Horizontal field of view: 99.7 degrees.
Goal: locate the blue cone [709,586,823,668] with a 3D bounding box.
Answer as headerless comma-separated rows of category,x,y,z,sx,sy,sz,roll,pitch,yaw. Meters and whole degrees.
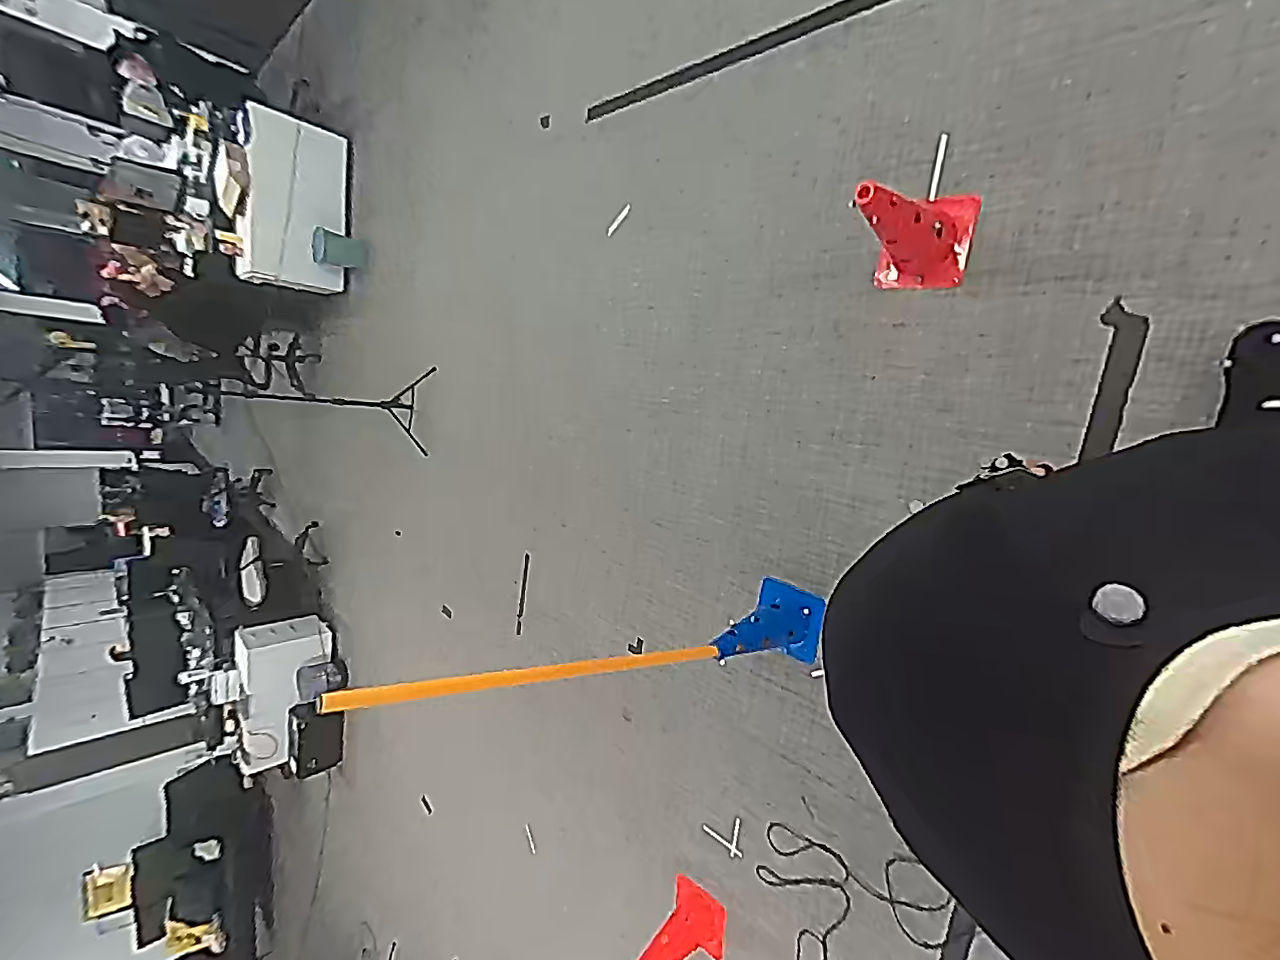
blue cone,0.309,0.416,1.426,0.193,0.380,0.192,20,106,42

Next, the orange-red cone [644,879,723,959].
orange-red cone,0.075,1.473,1.676,0.199,0.360,0.198,9,99,42
